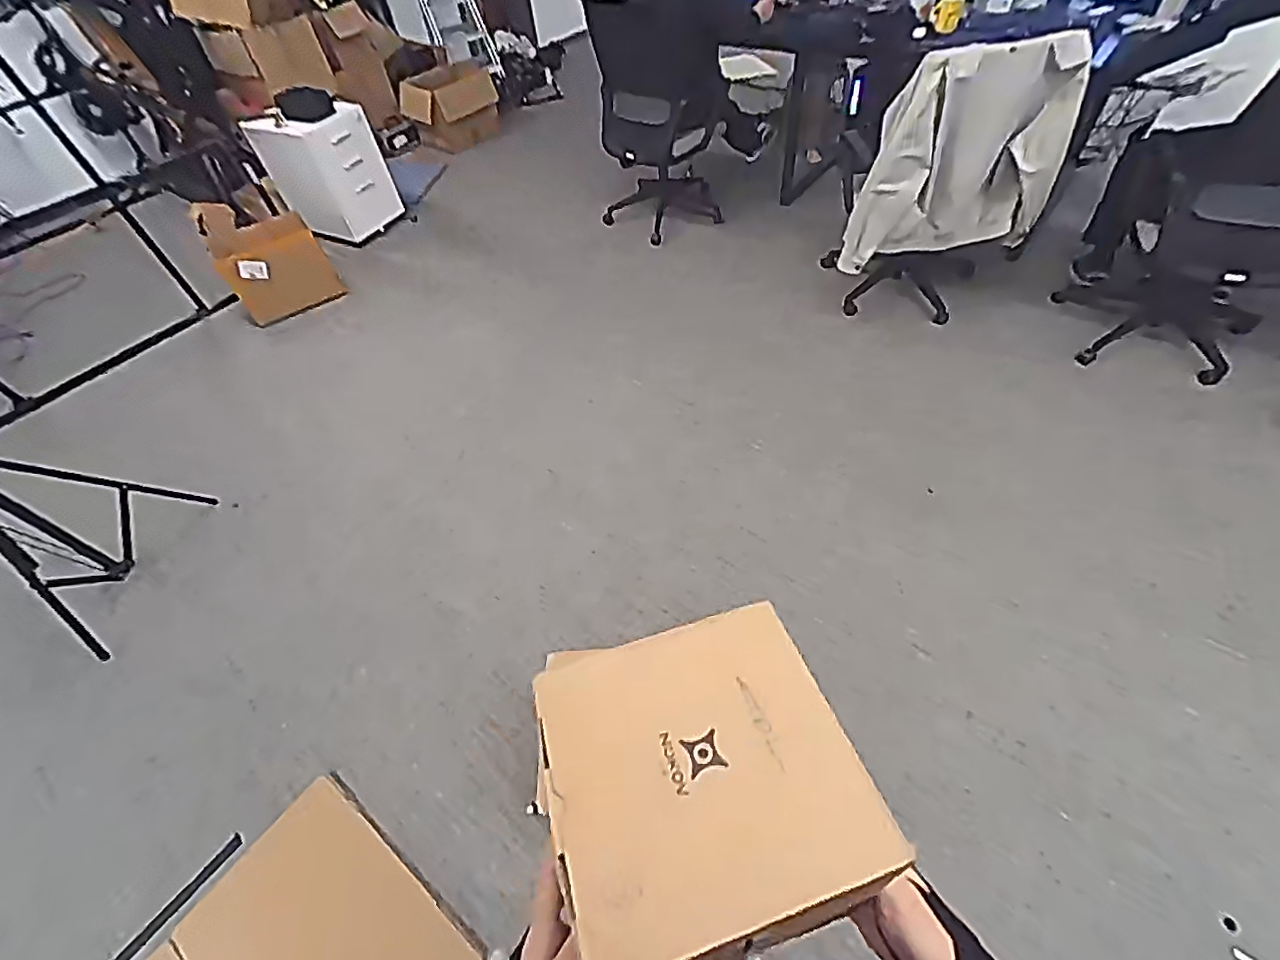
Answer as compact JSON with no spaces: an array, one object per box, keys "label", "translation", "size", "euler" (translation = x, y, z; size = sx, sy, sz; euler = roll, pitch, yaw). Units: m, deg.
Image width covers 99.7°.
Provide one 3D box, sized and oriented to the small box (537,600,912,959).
[{"label":"small box","translation":[0.042,0.217,0.372],"size":[0.179,0.176,0.168],"euler":[-15,46,-10]}]
